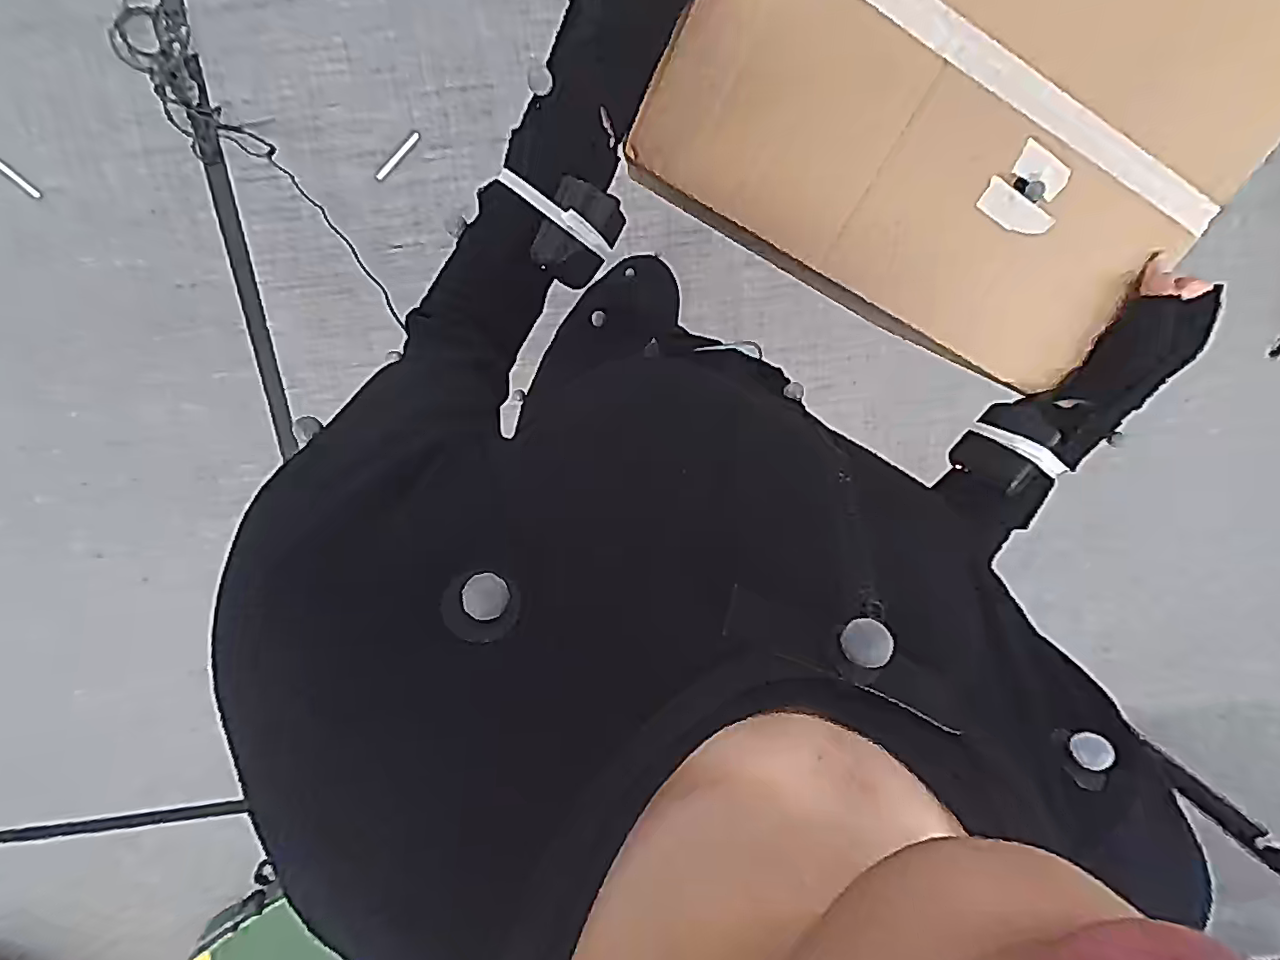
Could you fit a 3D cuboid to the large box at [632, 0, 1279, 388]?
[{"bbox_3d":[0.234,-0.344,0.507,0.408,0.320,0.320,25,115,-13],"label":"large box"}]
